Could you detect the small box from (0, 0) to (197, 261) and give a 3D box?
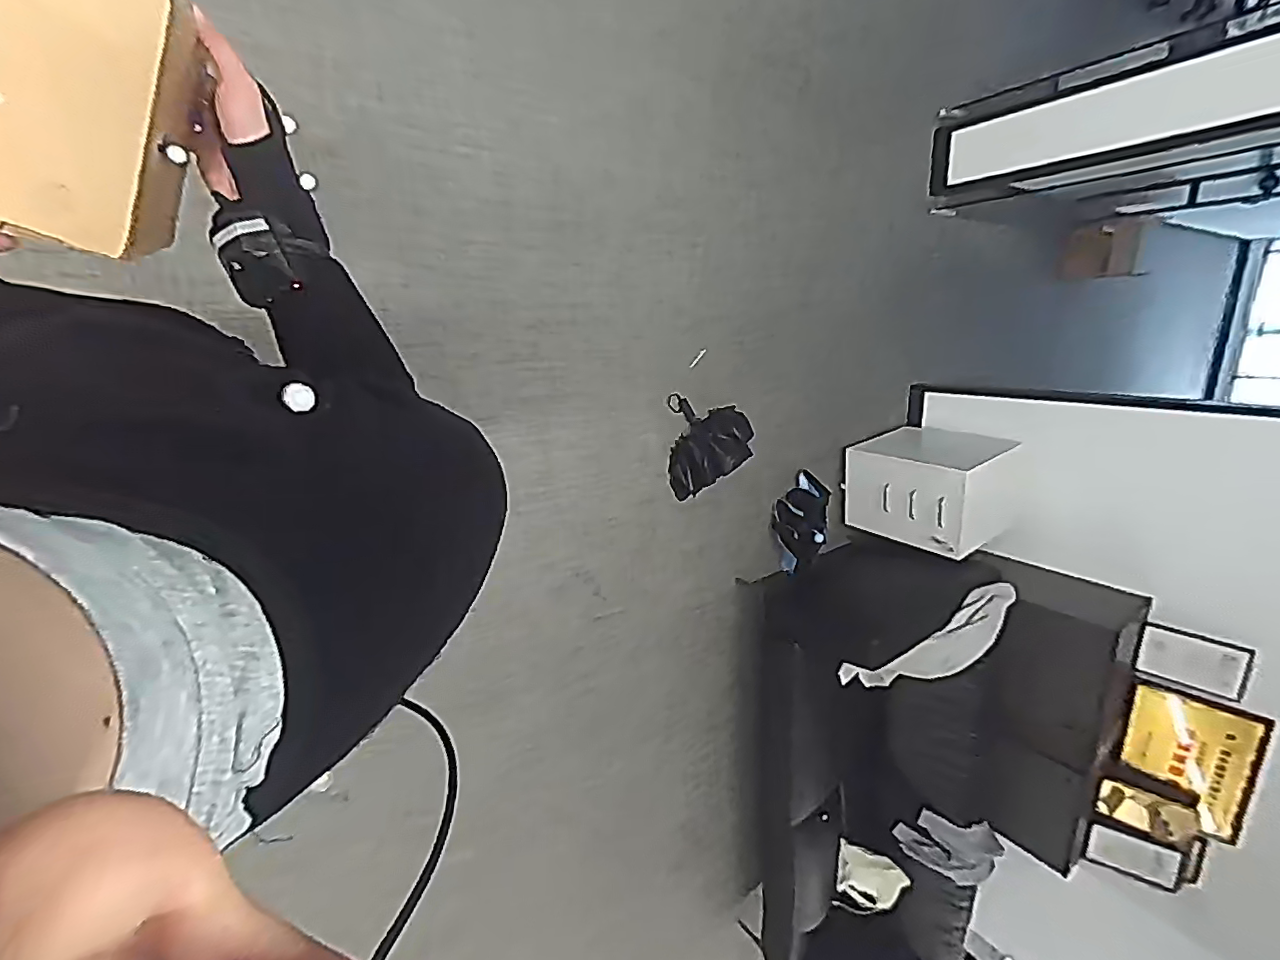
[{"bbox_3d":[-0.430,-0.277,0.371,0.168,0.176,0.179,13,107,-37],"label":"small box"}]
